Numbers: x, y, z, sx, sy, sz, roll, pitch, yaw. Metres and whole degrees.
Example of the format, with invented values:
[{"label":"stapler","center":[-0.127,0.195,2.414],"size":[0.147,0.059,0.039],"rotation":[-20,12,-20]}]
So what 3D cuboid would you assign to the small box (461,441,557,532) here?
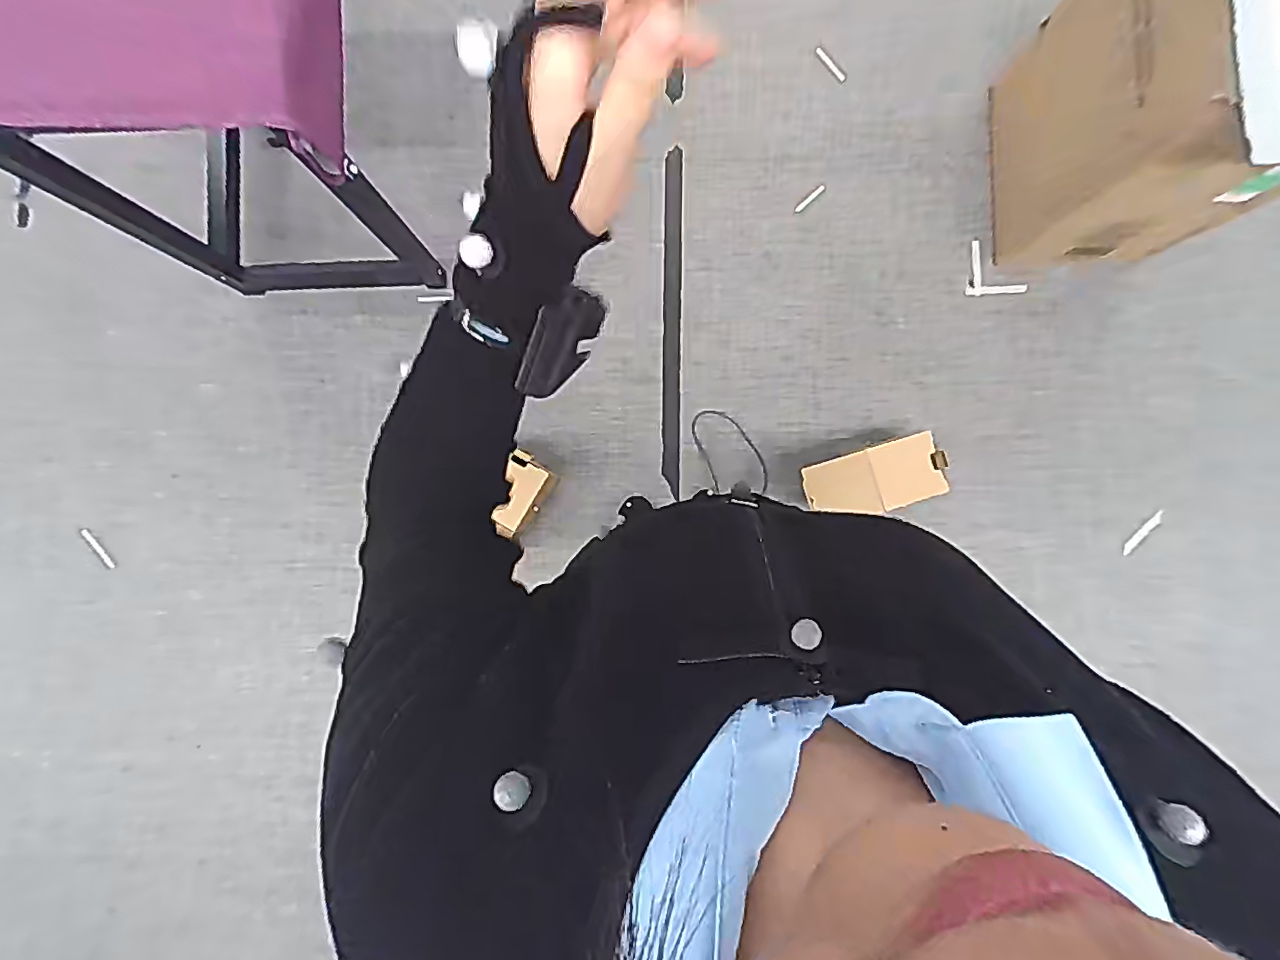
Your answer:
[{"label":"small box","center":[-0.334,0.021,1.425],"size":[0.168,0.176,0.179],"rotation":[31,88,1]}]
